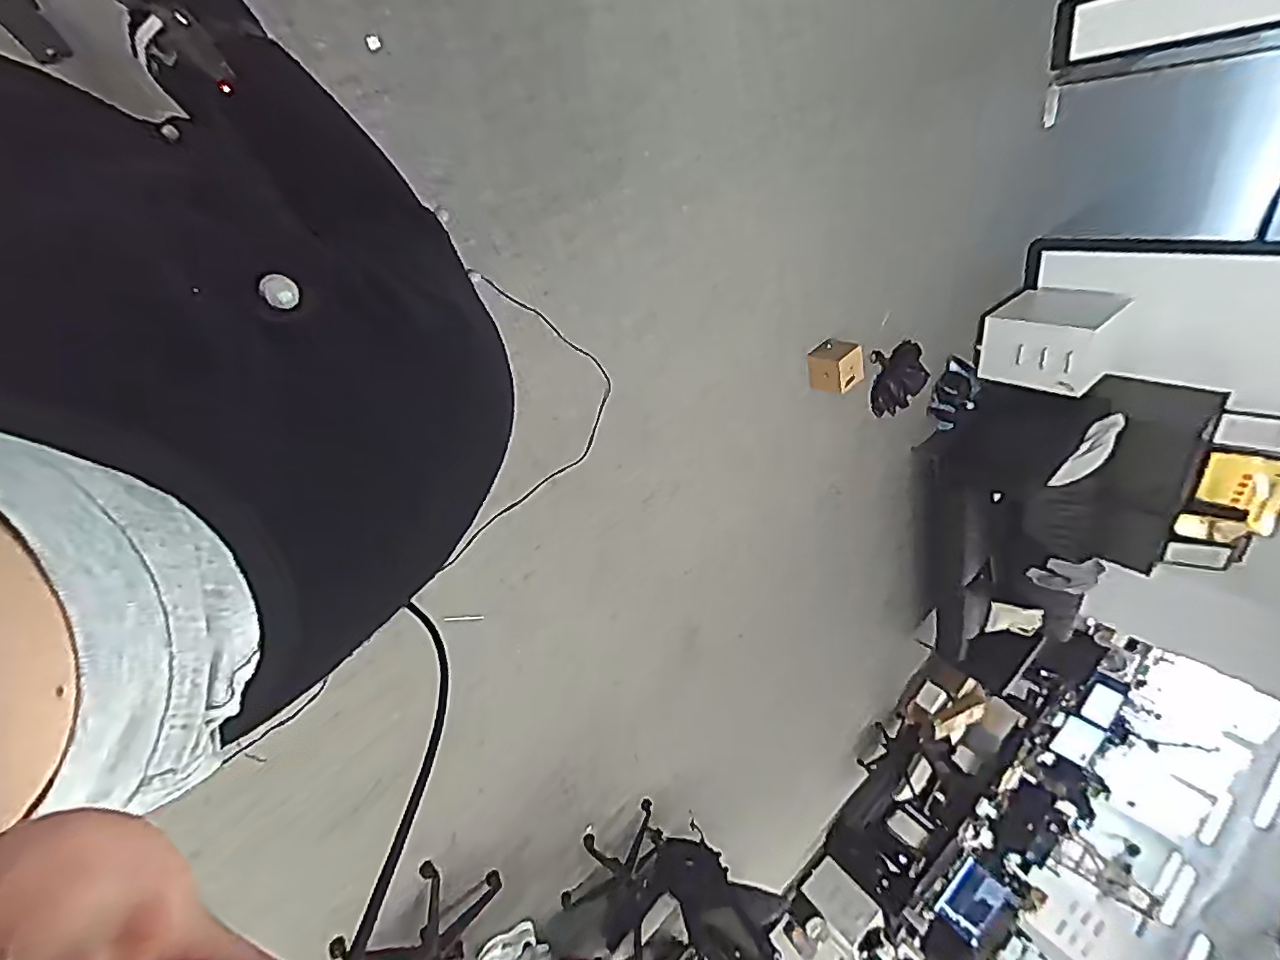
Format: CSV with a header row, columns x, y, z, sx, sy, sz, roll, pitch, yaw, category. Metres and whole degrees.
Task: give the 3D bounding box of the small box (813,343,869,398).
x,y,z,sx,sy,sz,roll,pitch,yaw,category
0.912,-0.503,2.457,0.168,0.176,0.179,-37,127,-20,small box
